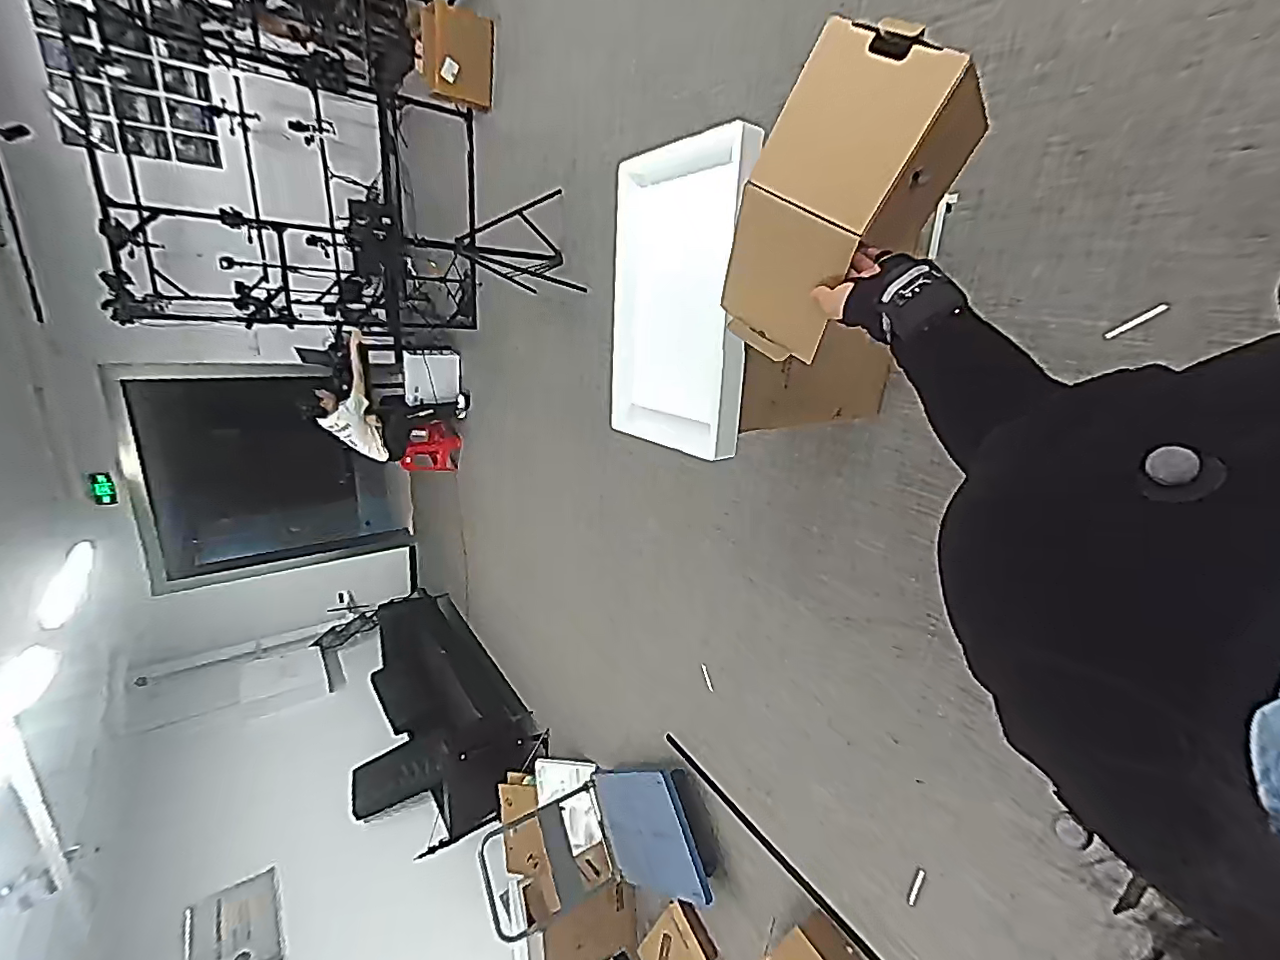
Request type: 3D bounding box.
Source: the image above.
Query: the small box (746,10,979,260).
[{"bbox_3d":[0.262,-0.383,0.631,0.168,0.176,0.179,42,119,25],"label":"small box"}]
